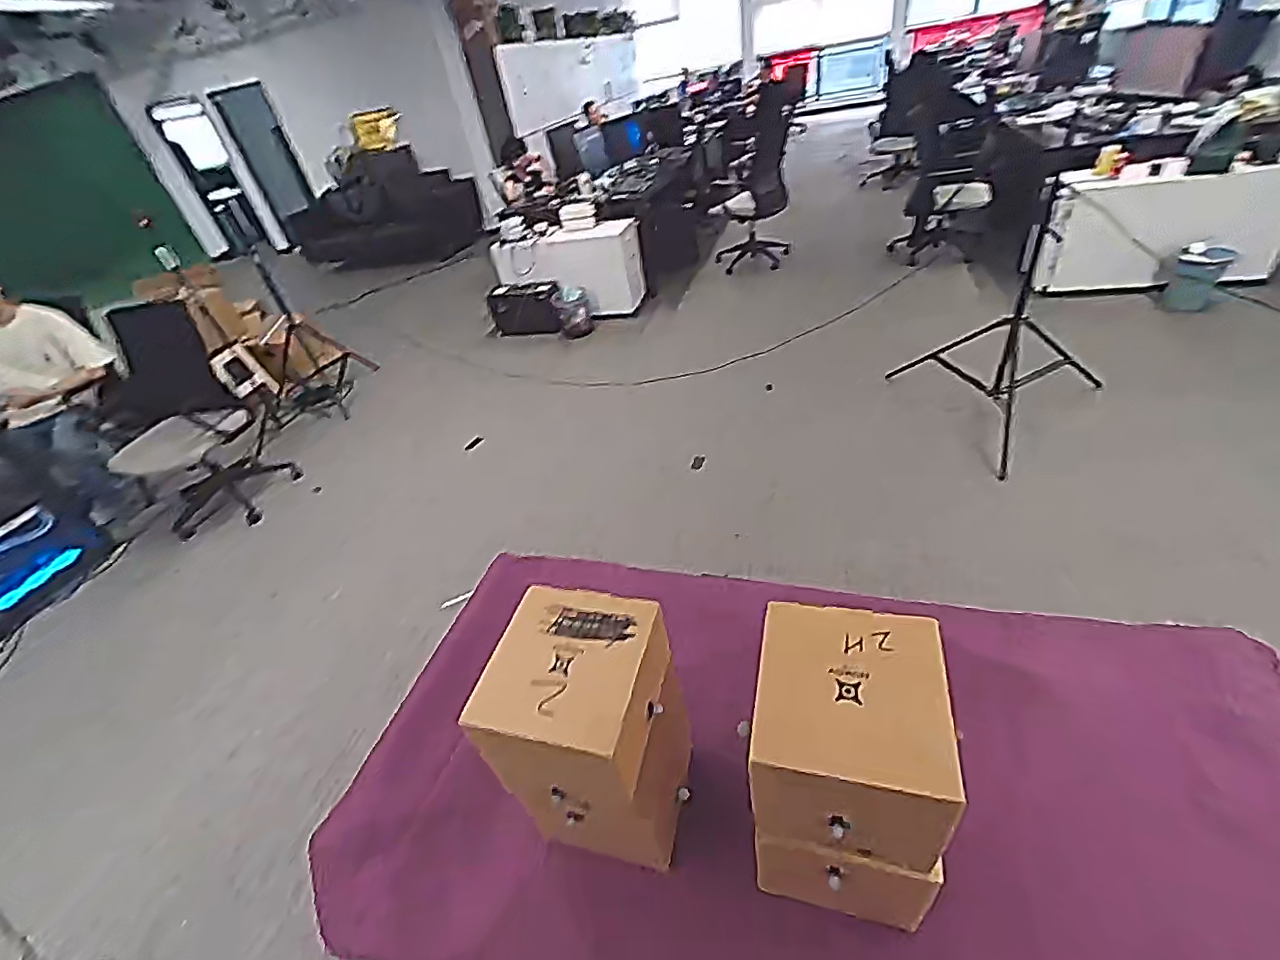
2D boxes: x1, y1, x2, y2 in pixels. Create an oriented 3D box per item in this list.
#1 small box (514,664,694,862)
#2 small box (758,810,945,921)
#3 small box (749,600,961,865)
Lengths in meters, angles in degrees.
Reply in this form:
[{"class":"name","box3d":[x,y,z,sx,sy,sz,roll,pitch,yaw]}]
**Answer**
[{"class":"small box","box3d":[-0.035,0.374,0.720,0.179,0.176,0.168,3,40,18]},{"class":"small box","box3d":[0.239,0.384,0.639,0.179,0.176,0.168,3,40,19]},{"class":"small box","box3d":[0.208,0.251,0.547,0.168,0.176,0.179,3,40,19]}]
